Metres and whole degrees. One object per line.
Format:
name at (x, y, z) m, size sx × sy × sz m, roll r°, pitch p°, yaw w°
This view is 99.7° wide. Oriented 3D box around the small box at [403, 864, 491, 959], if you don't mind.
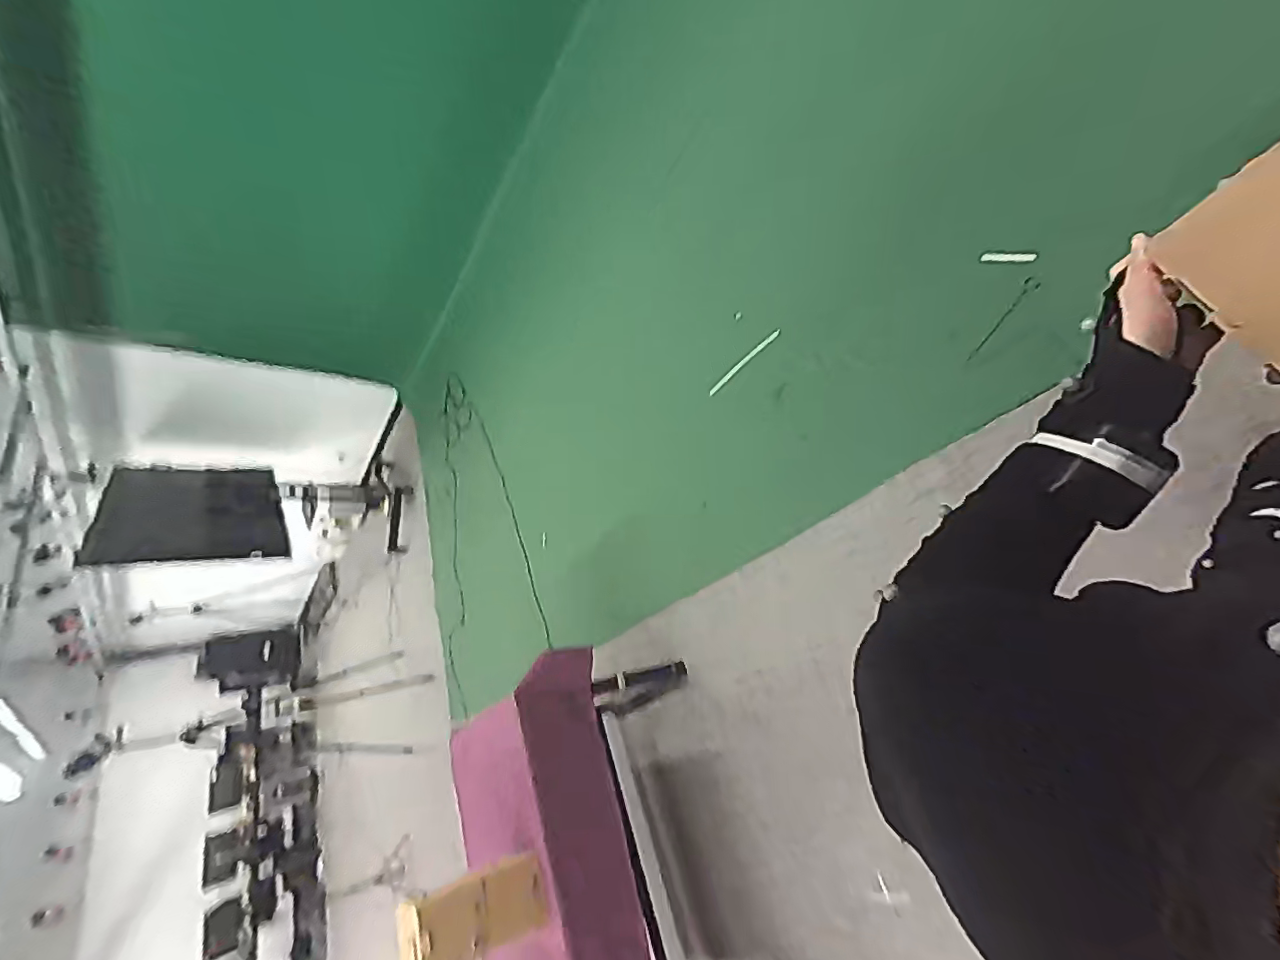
small box at (-0.493, 1.114, 1.389) m, size 0.179 × 0.176 × 0.168 m, roll -39°, pitch 58°, yaw 43°
